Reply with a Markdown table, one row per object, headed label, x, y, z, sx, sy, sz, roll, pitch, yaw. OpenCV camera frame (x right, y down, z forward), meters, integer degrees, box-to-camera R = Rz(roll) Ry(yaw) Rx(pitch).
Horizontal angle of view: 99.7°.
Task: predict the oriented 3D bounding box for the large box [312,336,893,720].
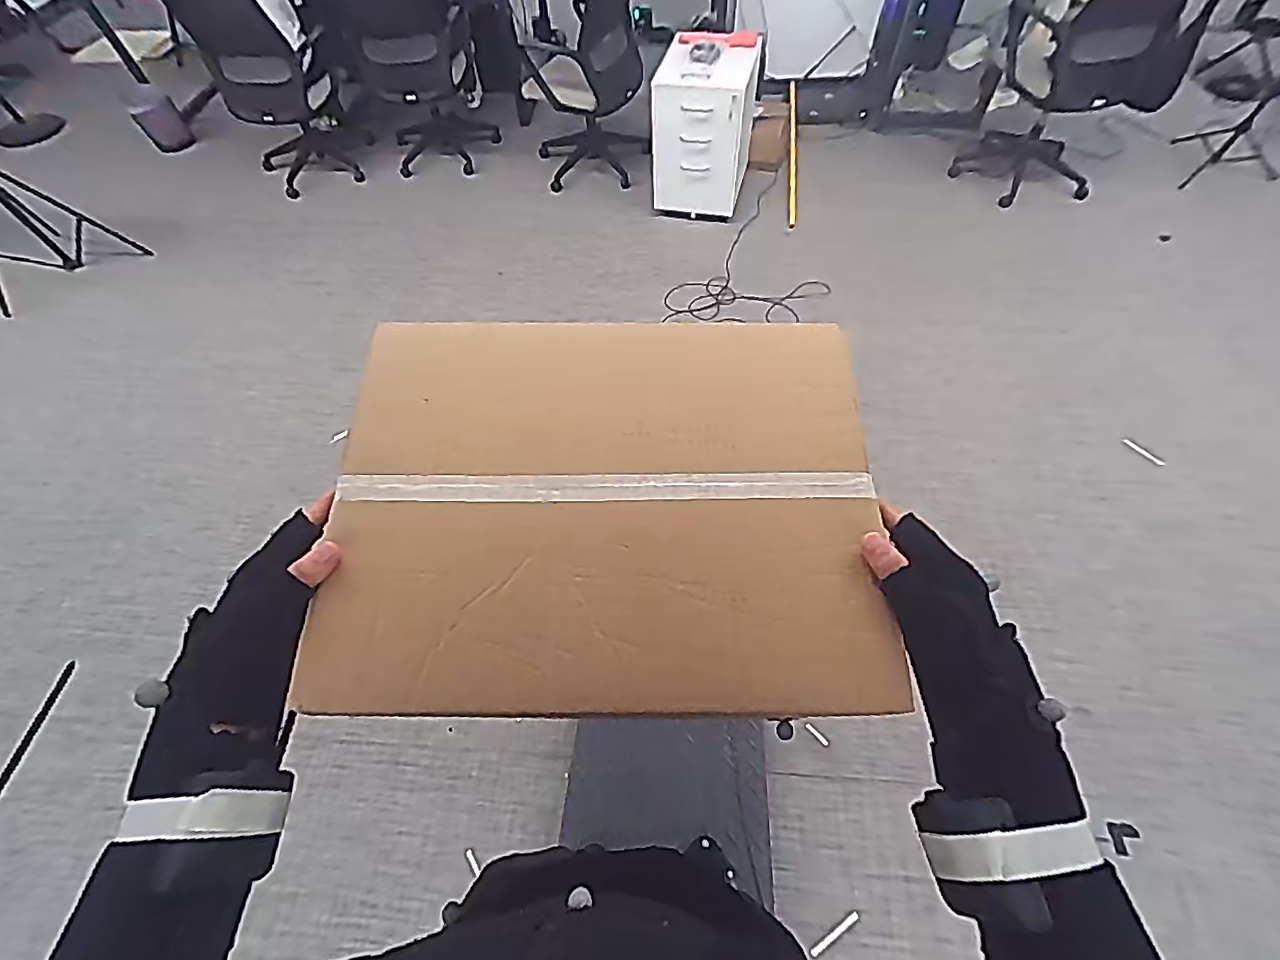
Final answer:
| label | x | y | z | sx | sy | sz | roll | pitch | yaw |
| --- | --- | --- | --- | --- | --- | --- | --- | --- | --- |
| large box | -0.025 | 0.073 | 0.560 | 0.408 | 0.320 | 0.320 | 0 | 66 | 0 |
